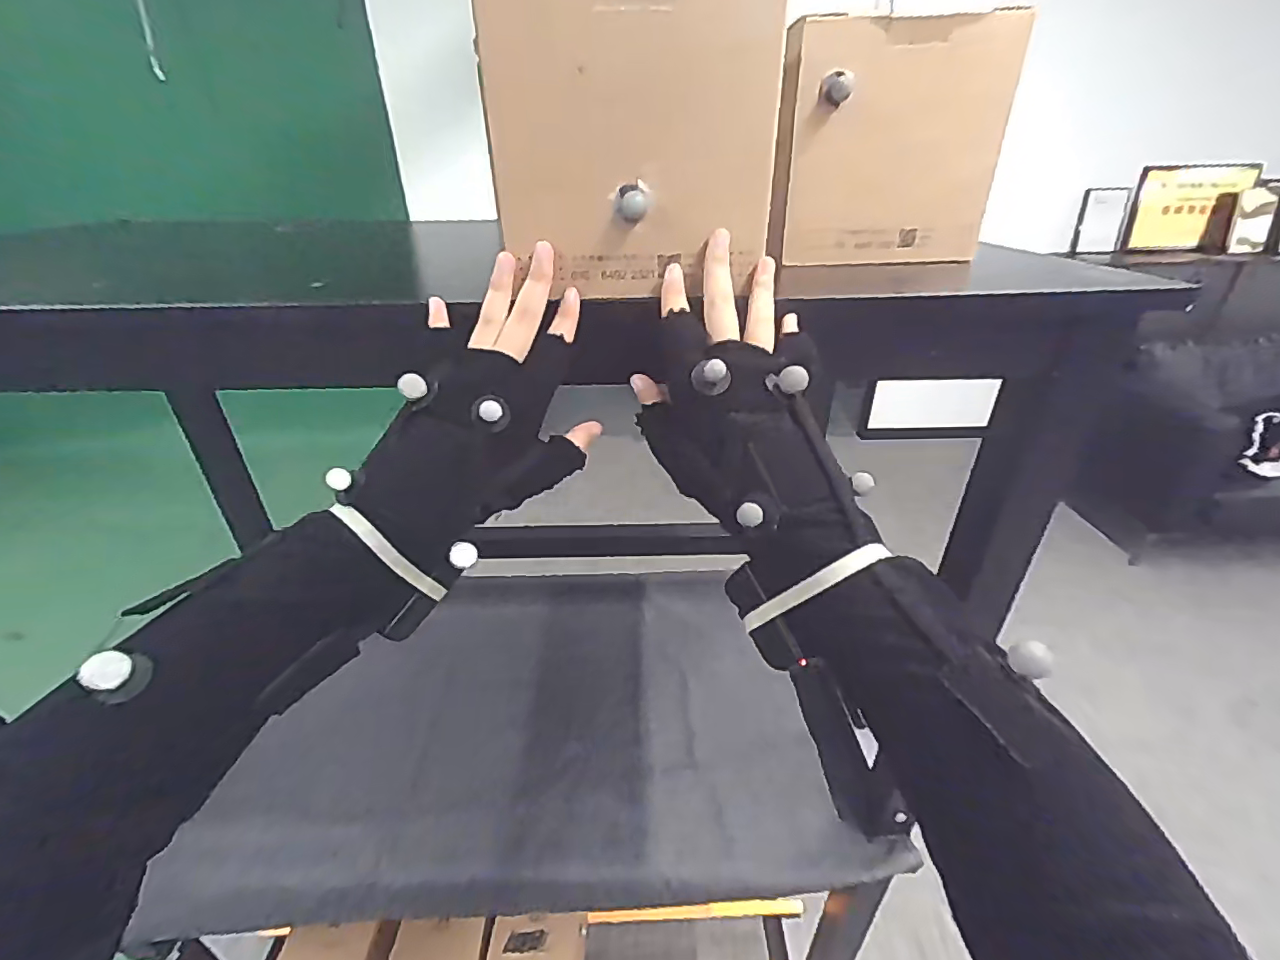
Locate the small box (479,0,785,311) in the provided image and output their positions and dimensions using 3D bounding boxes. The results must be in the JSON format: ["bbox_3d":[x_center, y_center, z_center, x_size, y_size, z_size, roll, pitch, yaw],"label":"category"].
[{"bbox_3d":[-0.004,-0.227,0.392,0.168,0.176,0.179,-2,31,0],"label":"small box"}]
